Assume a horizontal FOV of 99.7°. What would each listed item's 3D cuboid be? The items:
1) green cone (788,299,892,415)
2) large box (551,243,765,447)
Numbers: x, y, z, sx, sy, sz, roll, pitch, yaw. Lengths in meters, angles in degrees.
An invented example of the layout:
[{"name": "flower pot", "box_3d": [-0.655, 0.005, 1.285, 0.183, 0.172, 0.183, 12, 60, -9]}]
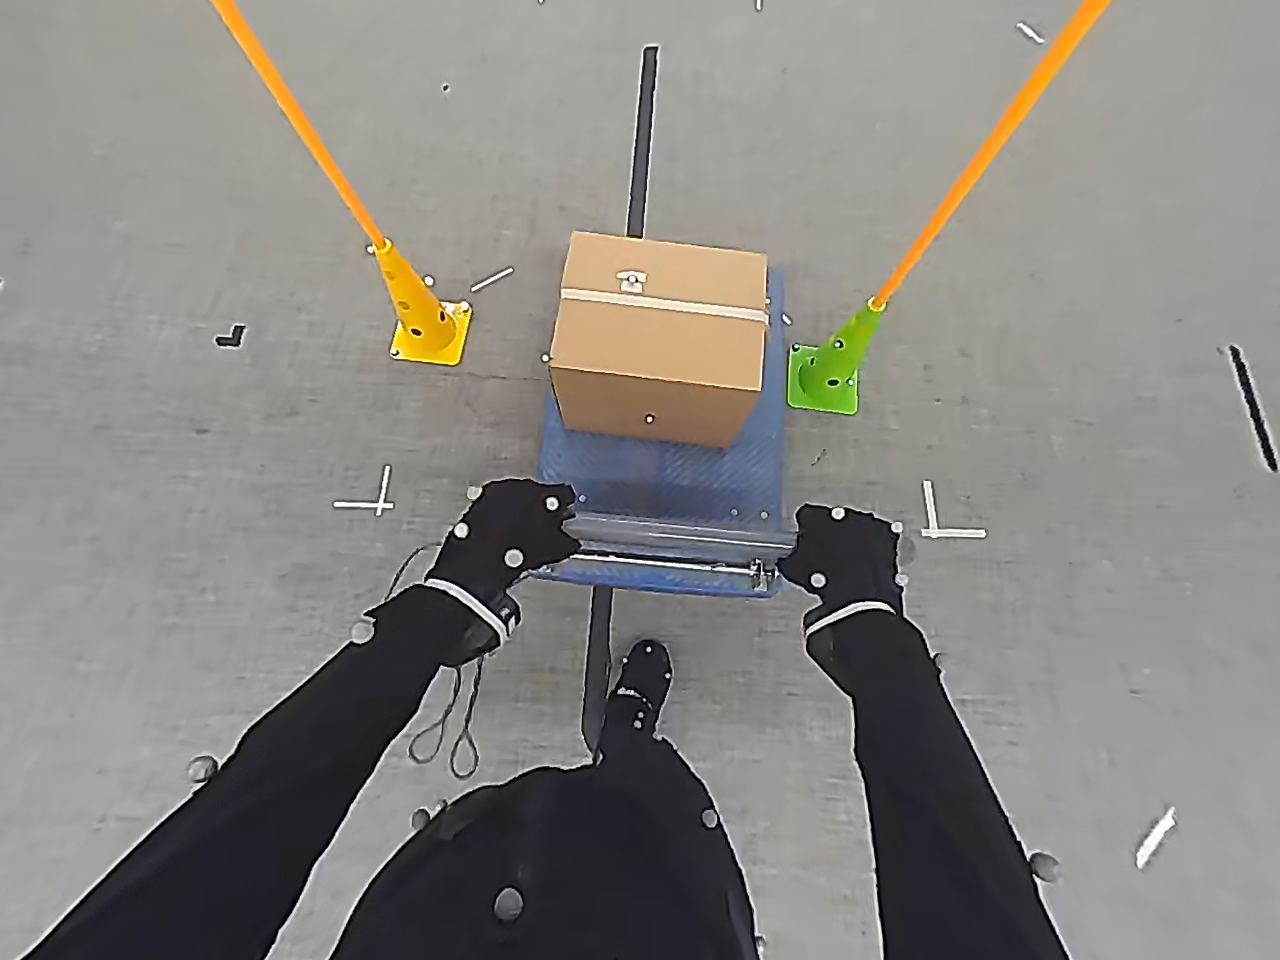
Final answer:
[{"name": "green cone", "box_3d": [0.537, -0.338, 1.392, 0.202, 0.368, 0.200, 8, 73, -1]}, {"name": "large box", "box_3d": [0.042, -0.281, 1.207, 0.408, 0.320, 0.320, 7, 73, 1]}]
